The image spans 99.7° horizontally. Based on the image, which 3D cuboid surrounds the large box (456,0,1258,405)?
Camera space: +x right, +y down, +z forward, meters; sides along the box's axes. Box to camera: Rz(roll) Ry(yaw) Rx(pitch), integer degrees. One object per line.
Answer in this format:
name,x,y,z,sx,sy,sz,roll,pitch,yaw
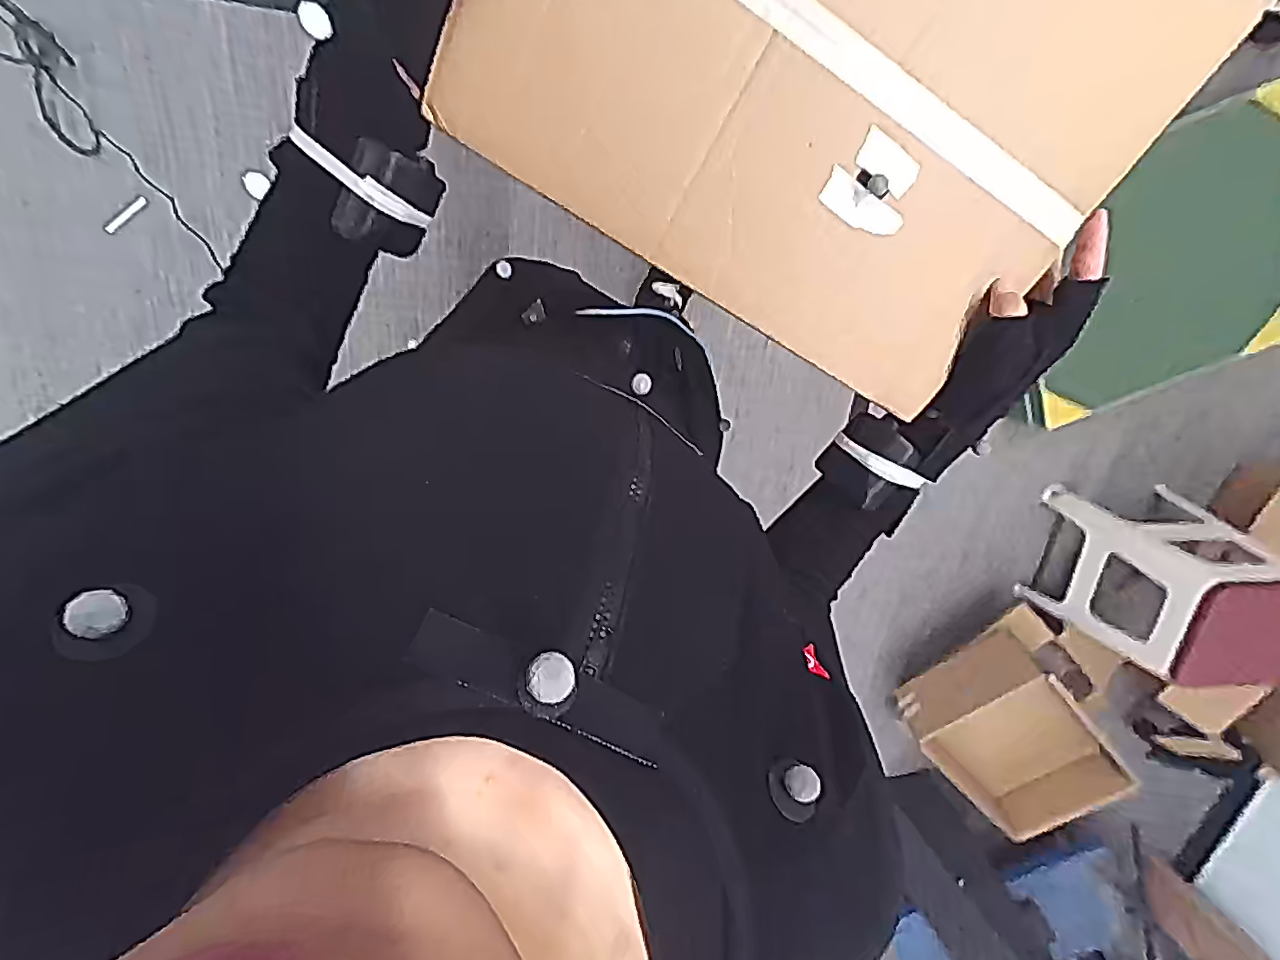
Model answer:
large box,0.123,-0.329,0.464,0.408,0.320,0.320,27,115,-14
